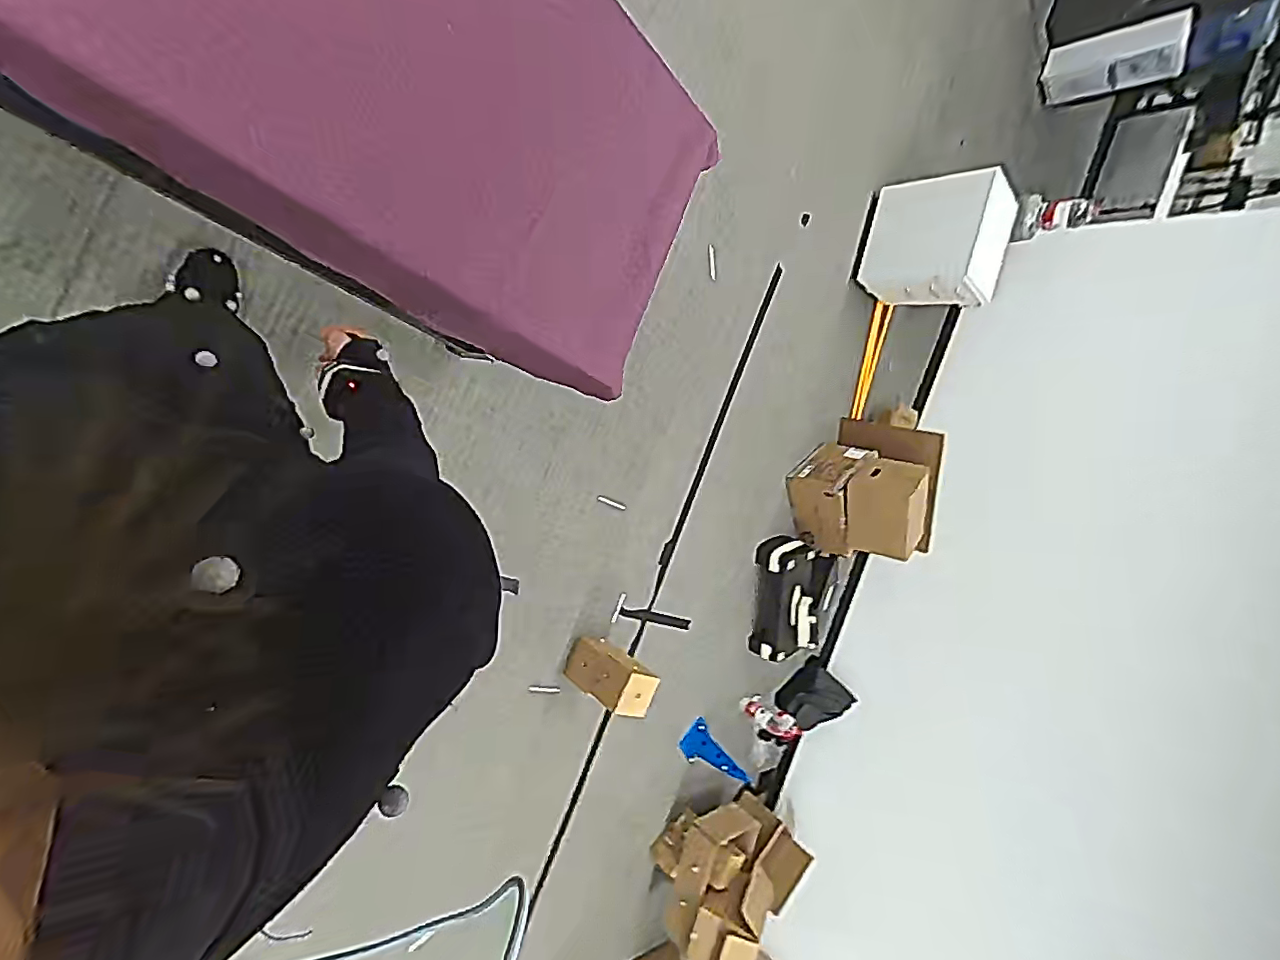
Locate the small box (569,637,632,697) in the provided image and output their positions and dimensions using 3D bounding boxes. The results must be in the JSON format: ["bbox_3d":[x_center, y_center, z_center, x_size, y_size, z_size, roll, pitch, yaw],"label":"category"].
[{"bbox_3d":[-0.169,0.769,2.221,0.168,0.176,0.179,24,87,-43],"label":"small box"}]

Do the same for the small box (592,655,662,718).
[{"bbox_3d":[-0.054,0.806,2.112,0.179,0.176,0.168,30,83,-42],"label":"small box"}]
